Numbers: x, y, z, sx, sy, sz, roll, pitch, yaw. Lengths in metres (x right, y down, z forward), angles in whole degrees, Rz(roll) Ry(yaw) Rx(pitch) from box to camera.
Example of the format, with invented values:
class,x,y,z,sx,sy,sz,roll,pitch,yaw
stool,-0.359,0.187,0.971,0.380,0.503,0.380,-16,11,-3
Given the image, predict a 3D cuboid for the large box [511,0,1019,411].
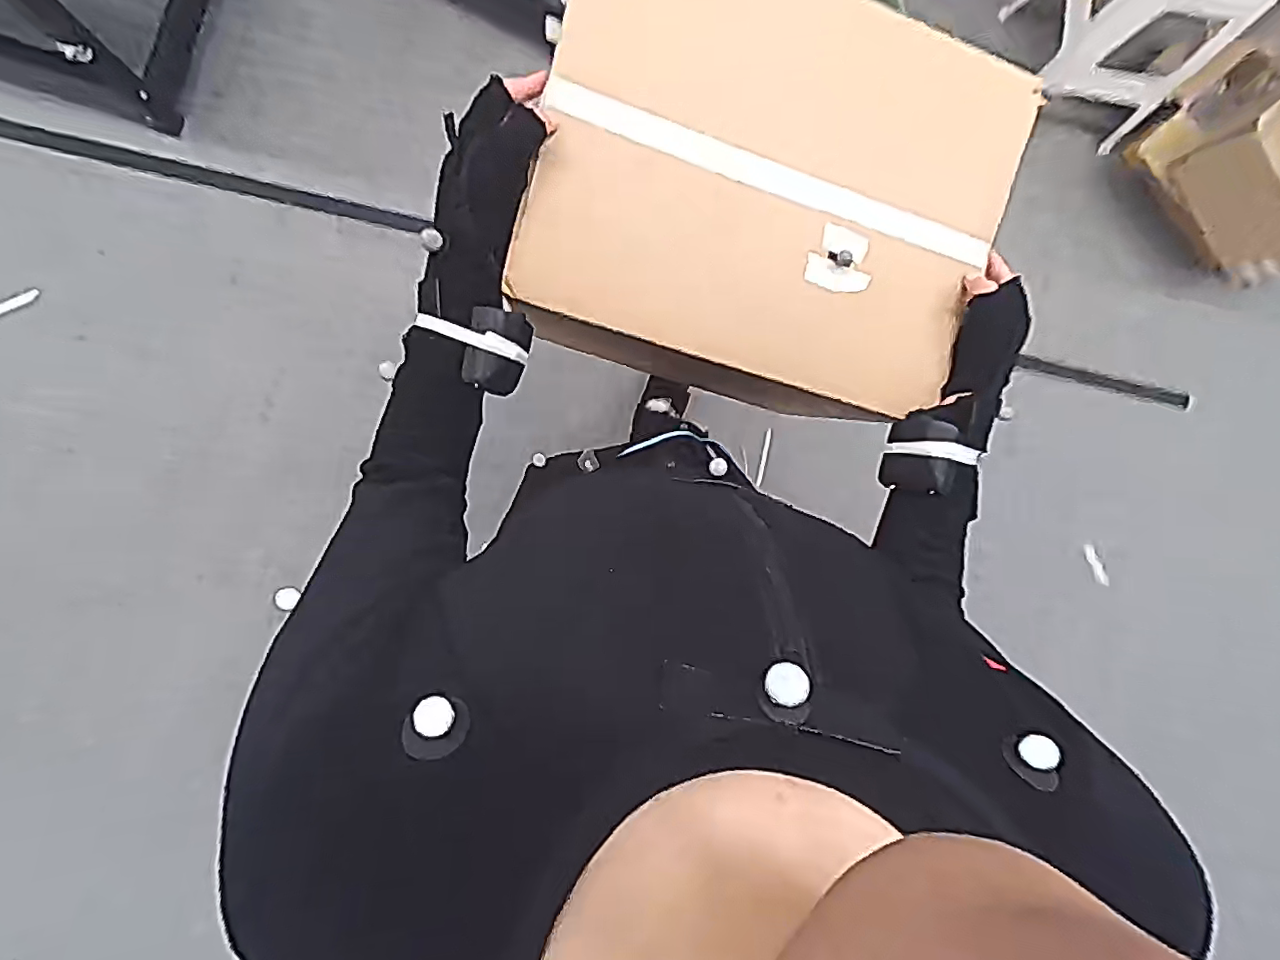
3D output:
class,x,y,z,sx,sy,sz,roll,pitch,yaw
large box,0.092,-0.280,0.611,0.408,0.320,0.320,14,98,-11
